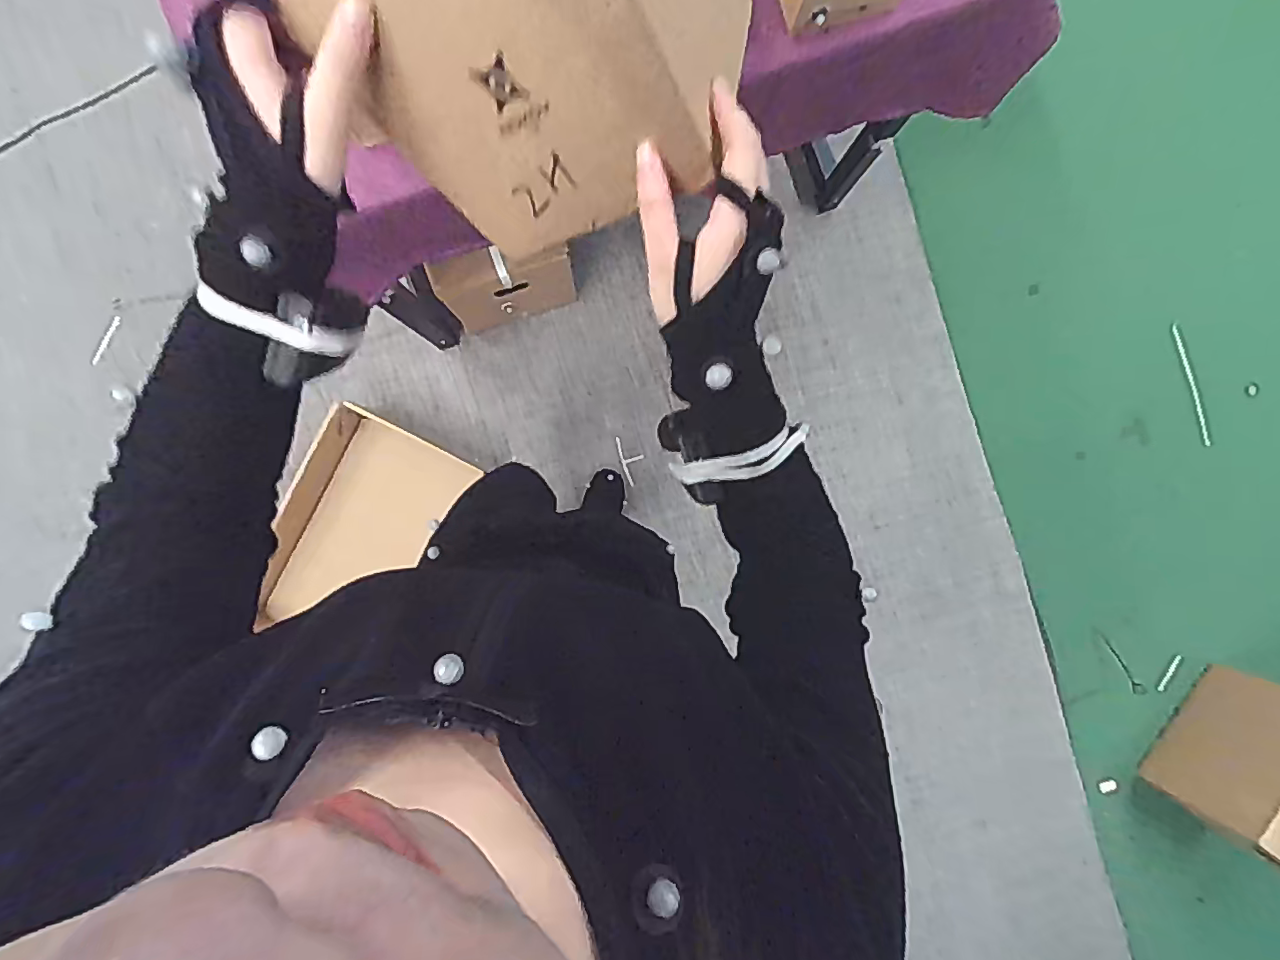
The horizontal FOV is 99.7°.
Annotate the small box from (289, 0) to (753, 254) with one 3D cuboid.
[{"bbox_3d":[-0.046,-0.274,0.308,0.168,0.179,0.176,-3,64,32],"label":"small box"}]

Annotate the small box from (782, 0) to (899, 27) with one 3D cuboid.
[{"bbox_3d":[0.275,-0.737,0.698,0.168,0.176,0.179,-17,90,-2],"label":"small box"}]

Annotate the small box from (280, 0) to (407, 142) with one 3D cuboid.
[{"bbox_3d":[-0.317,-0.562,0.672,0.179,0.176,0.168,-17,92,-2],"label":"small box"}]
